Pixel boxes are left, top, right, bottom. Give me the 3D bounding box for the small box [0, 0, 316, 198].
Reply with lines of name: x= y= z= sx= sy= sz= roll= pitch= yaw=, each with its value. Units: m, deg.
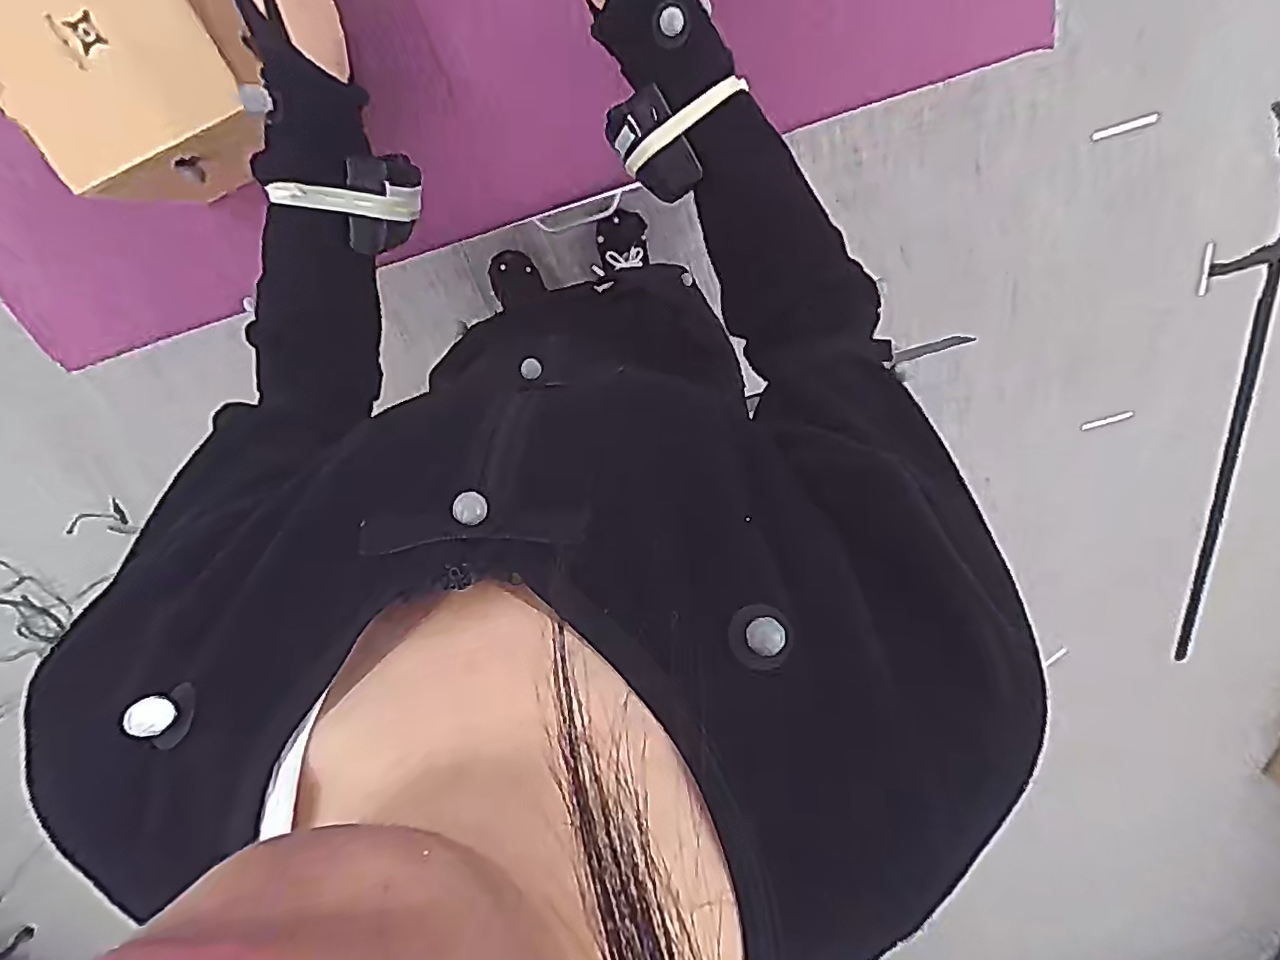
small box: x=-0.427 y=-0.370 z=0.478 sx=0.179 sy=0.176 sz=0.168 roll=-22 pitch=116 yaw=6
